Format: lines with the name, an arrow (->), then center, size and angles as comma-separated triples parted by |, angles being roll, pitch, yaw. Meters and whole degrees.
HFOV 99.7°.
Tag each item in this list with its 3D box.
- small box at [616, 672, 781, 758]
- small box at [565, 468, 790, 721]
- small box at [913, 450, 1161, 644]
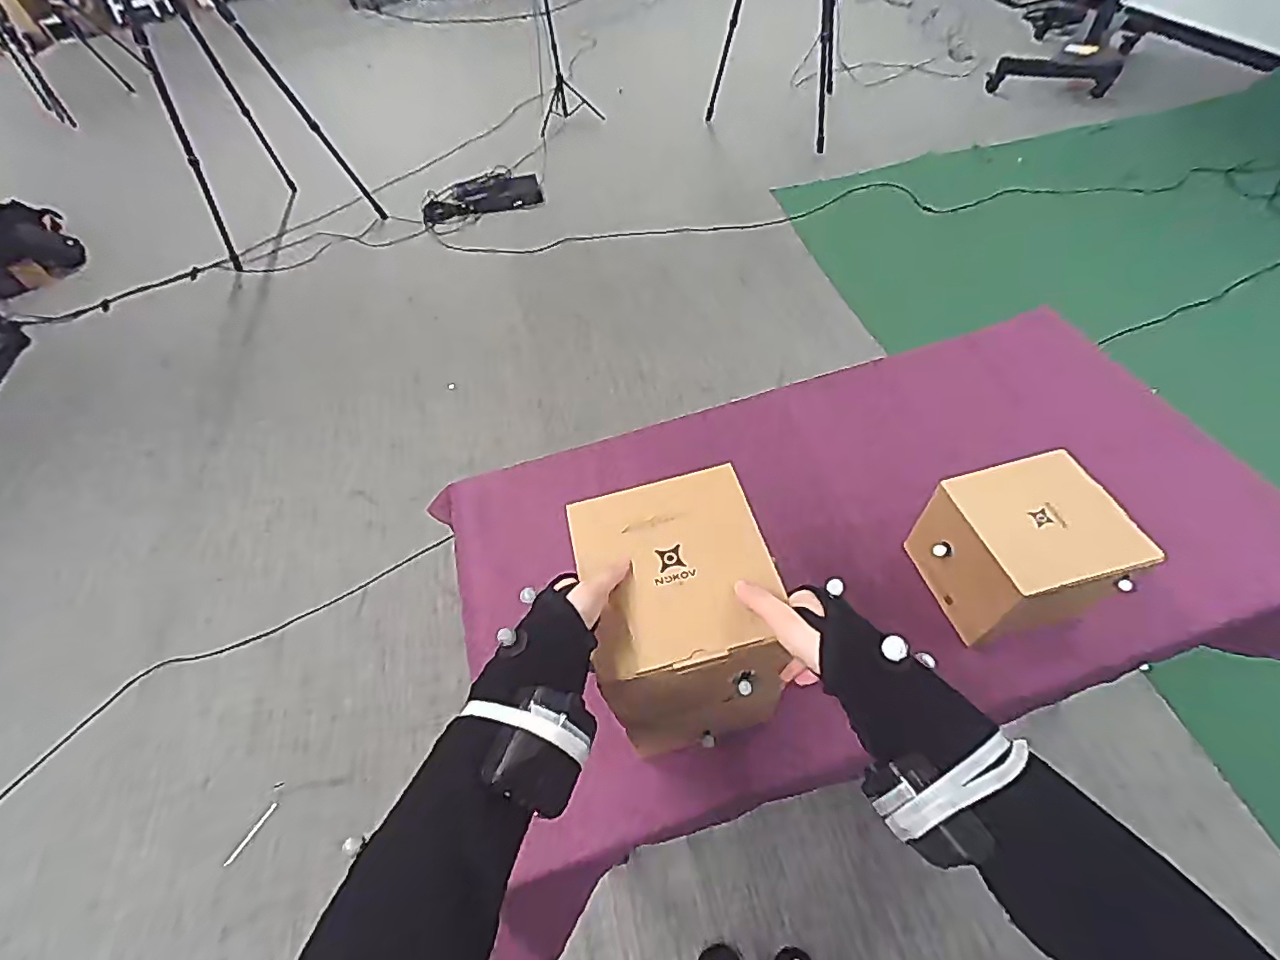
small box -> 0.051, 0.219, 0.662 | 0.179, 0.176, 0.168 | -15, 53, -4
small box -> 0.034, 0.121, 0.530 | 0.168, 0.176, 0.179 | -14, 53, -2
small box -> 0.484, 0.092, 0.701 | 0.179, 0.176, 0.168 | -14, 53, -4
